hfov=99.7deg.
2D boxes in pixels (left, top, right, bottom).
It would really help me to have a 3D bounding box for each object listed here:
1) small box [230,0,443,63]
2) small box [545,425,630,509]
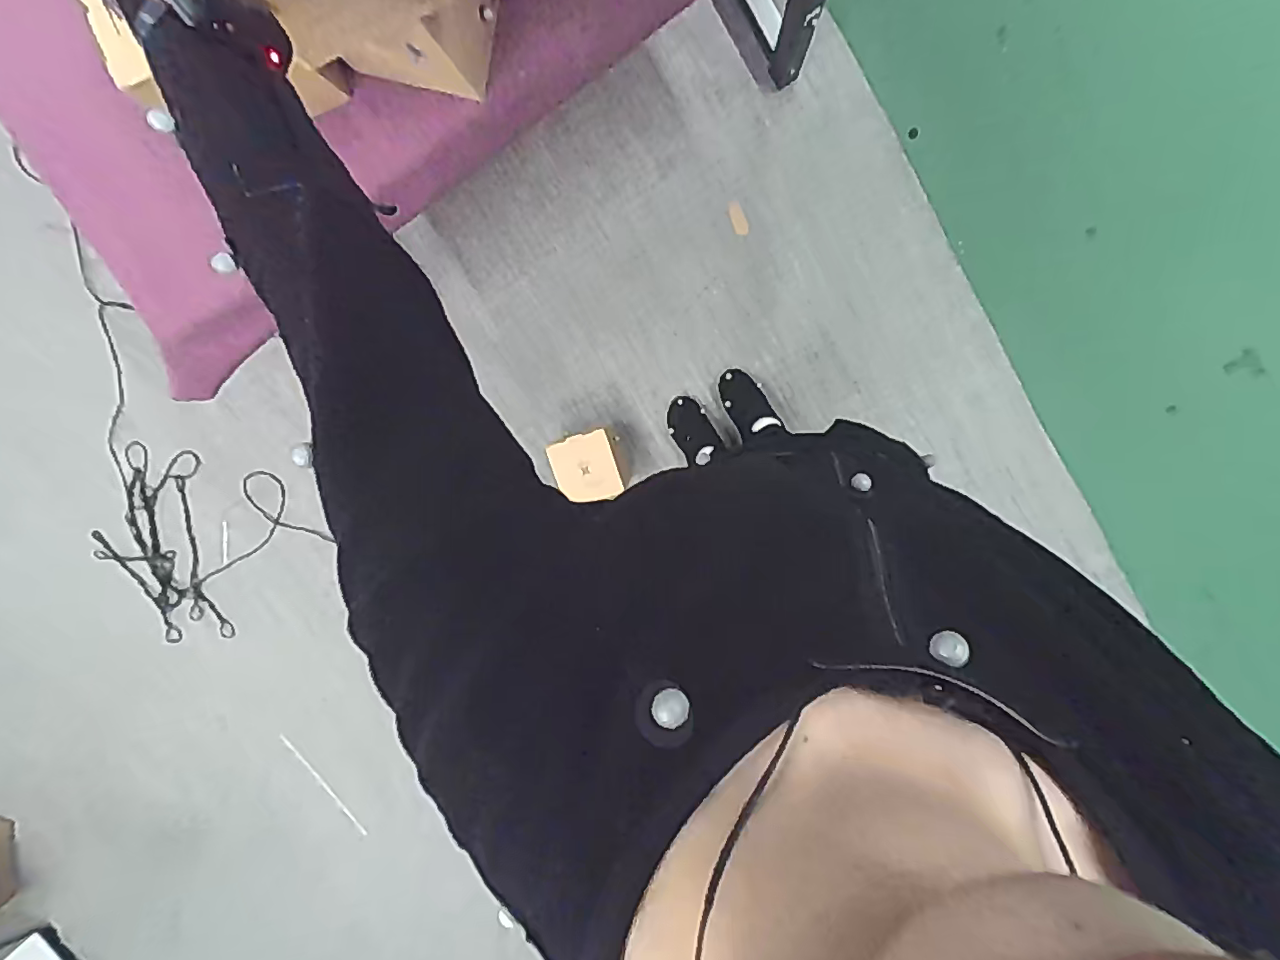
[{"bbox_3d":[-0.290,-0.498,0.446,0.179,0.176,0.168,-17,100,8],"label":"small box"},{"bbox_3d":[-0.135,-0.042,1.449,0.168,0.176,0.179,-16,101,9],"label":"small box"}]
